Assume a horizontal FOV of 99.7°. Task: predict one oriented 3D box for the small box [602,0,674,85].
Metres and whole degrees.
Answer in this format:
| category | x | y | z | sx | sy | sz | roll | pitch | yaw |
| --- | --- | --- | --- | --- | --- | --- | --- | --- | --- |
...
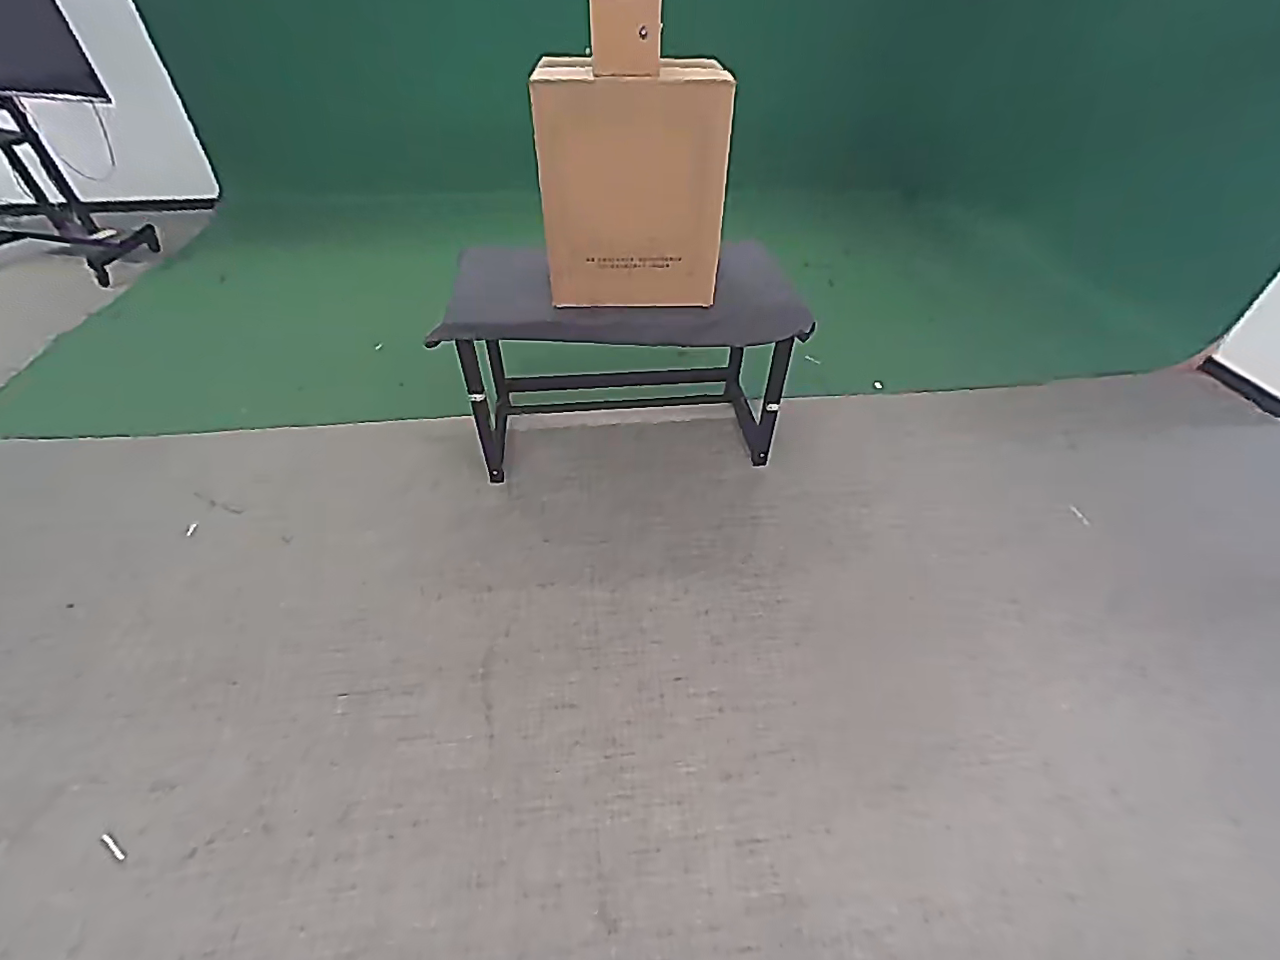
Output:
| category | x | y | z | sx | sy | sz | roll | pitch | yaw |
| --- | --- | --- | --- | --- | --- | --- | --- | --- | --- |
| small box | -0.009 | -1.151 | 1.410 | 0.179 | 0.176 | 0.168 | -2 | 45 | -1 |
